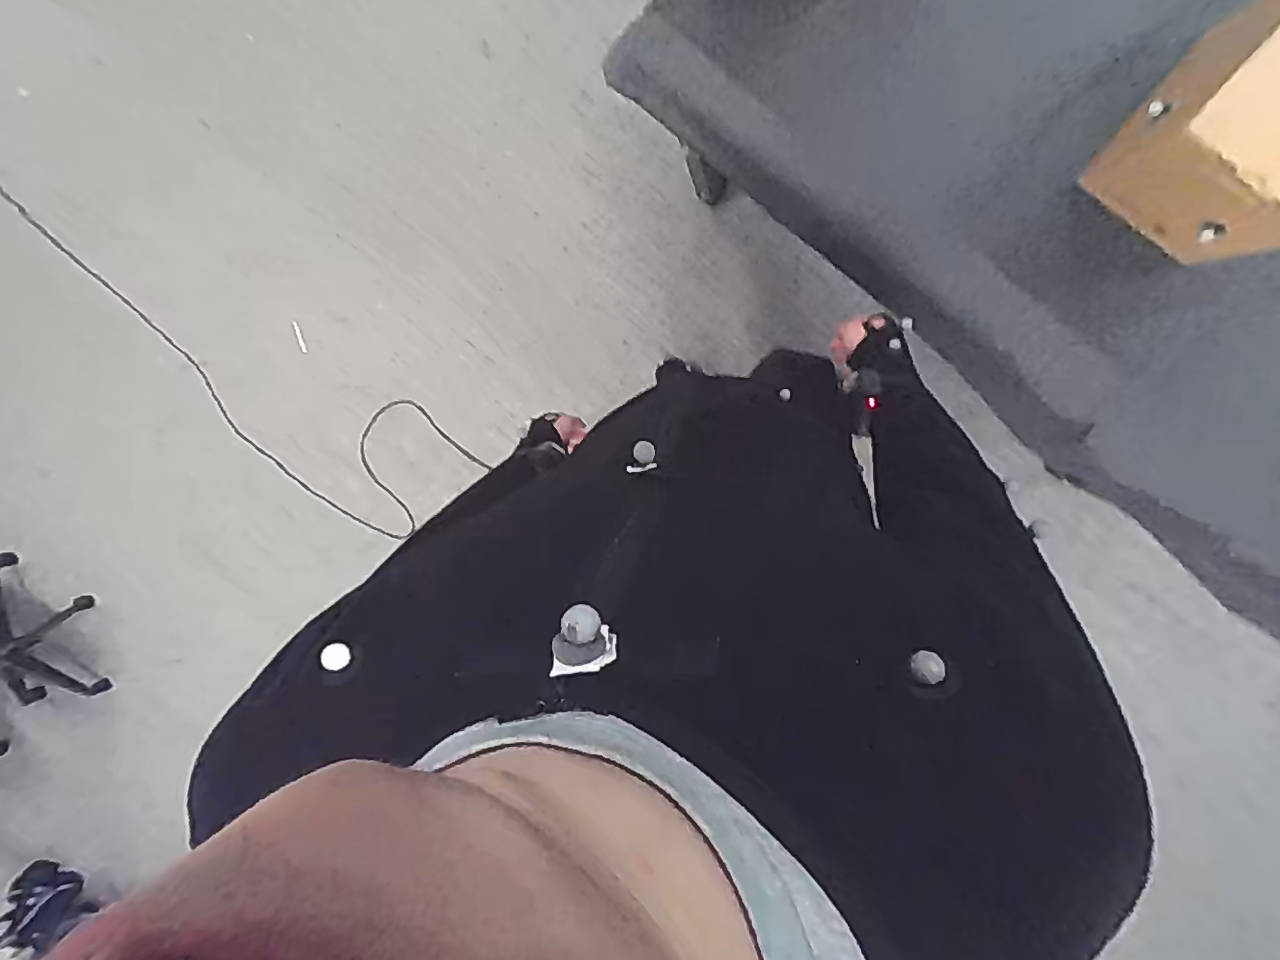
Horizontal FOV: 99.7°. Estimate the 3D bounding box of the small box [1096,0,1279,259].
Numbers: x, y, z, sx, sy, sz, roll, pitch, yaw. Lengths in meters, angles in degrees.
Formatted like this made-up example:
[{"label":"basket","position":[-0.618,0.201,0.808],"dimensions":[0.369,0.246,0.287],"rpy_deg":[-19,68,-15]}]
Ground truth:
[{"label":"small box","position":[0.601,-0.340,0.521],"dimensions":[0.168,0.176,0.179],"rpy_deg":[37,106,-2]}]
